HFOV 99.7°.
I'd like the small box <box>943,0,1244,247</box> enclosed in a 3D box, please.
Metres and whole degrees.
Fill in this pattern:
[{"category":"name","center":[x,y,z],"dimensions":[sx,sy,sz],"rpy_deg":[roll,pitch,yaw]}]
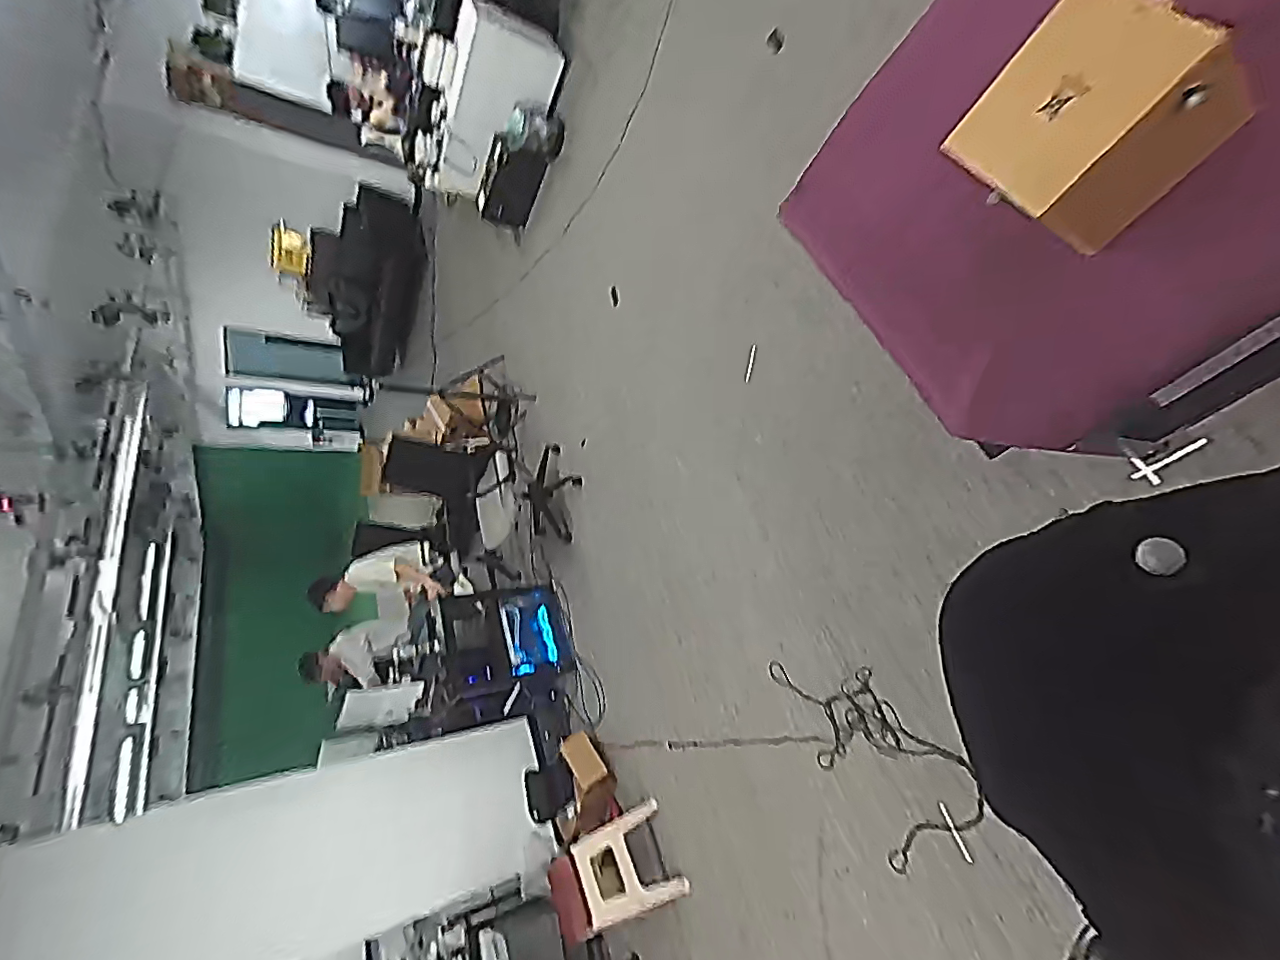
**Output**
[{"category":"small box","center":[0.496,-0.393,0.602],"dimensions":[0.179,0.176,0.168],"rpy_deg":[-53,48,40]}]
